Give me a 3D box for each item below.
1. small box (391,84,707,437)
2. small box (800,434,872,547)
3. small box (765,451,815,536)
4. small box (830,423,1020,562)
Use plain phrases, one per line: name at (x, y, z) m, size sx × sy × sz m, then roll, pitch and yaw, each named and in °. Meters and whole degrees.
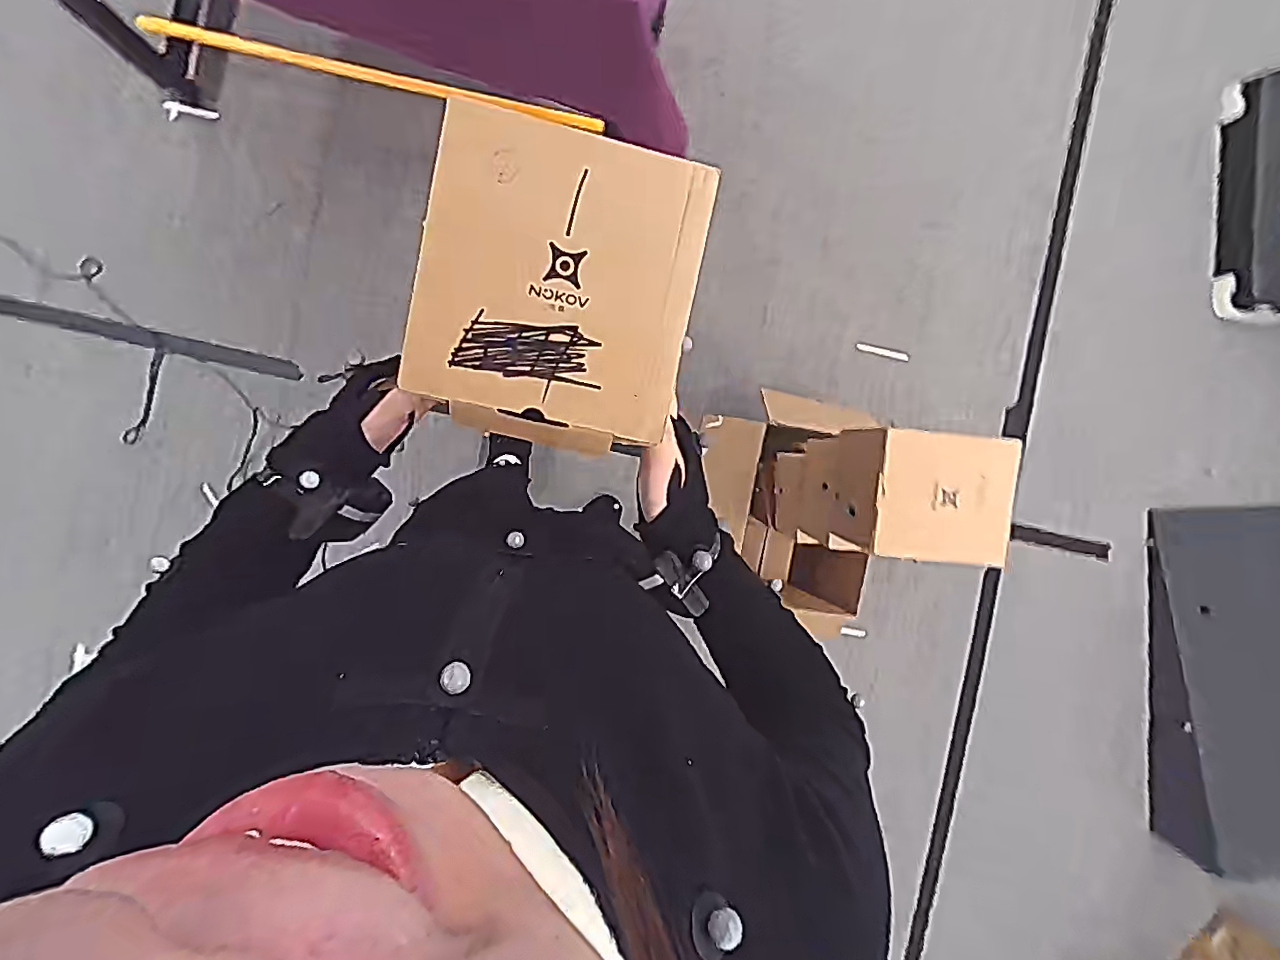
small box at (-0.062, -0.136, 0.405) m, size 0.168 × 0.176 × 0.179 m, roll 11°, pitch 95°, yaw -7°
small box at (0.386, 0.016, 0.935) m, size 0.168 × 0.176 × 0.179 m, roll 5°, pitch 95°, yaw 0°
small box at (0.400, 0.023, 1.265) m, size 0.168 × 0.176 × 0.179 m, roll -9°, pitch 96°, yaw 0°
small box at (0.389, 0.011, 0.771) m, size 0.179 × 0.176 × 0.168 m, roll 6°, pitch 95°, yaw -1°
